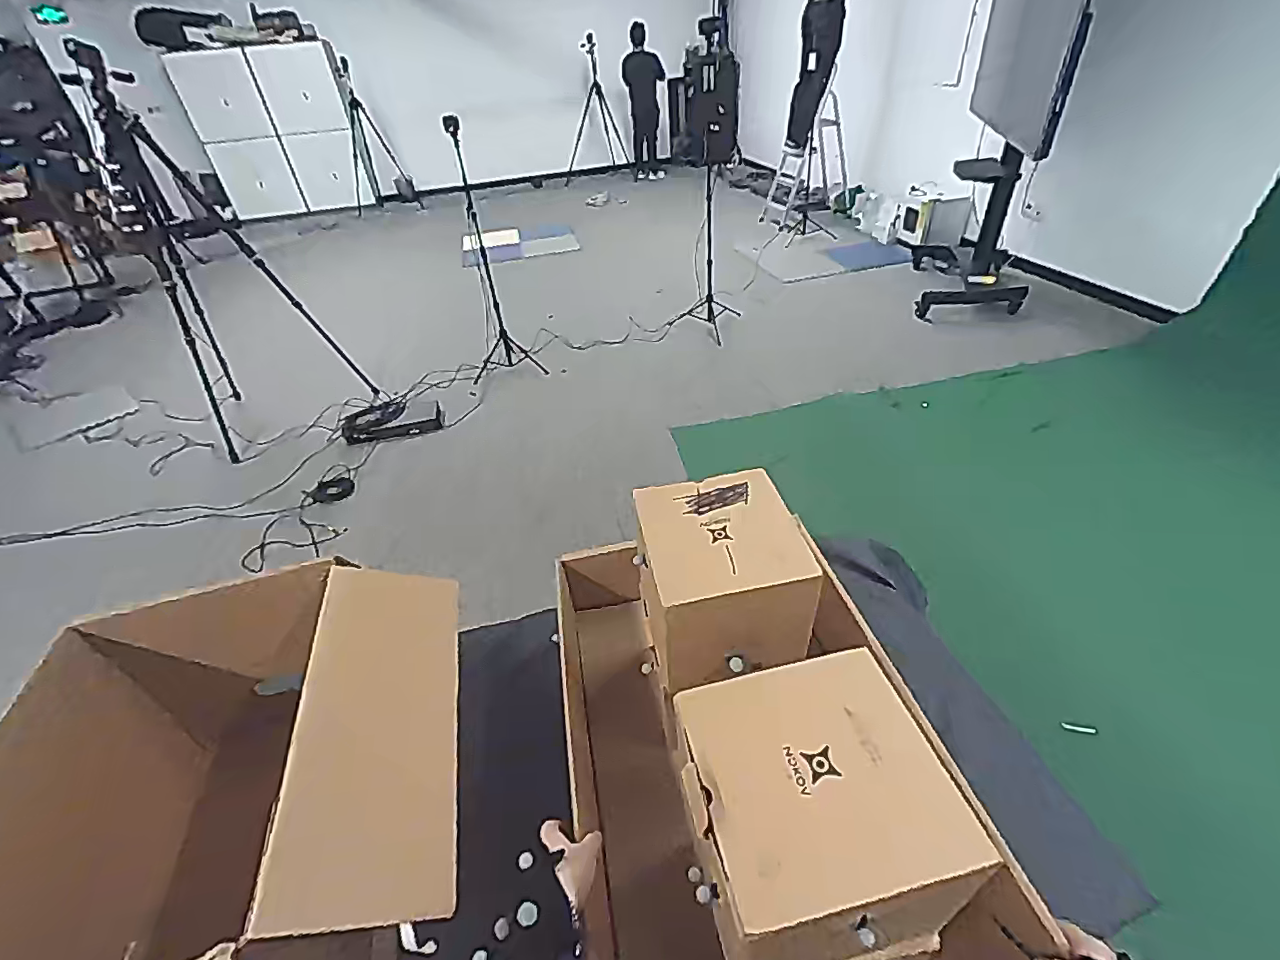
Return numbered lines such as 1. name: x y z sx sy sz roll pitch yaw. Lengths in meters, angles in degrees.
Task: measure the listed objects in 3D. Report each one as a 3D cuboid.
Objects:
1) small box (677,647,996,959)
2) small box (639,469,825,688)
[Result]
1. small box: 0.137 0.271 0.447 0.179 0.176 0.168 -11 39 -7
2. small box: 0.095 0.114 0.641 0.168 0.176 0.179 -10 42 -4
